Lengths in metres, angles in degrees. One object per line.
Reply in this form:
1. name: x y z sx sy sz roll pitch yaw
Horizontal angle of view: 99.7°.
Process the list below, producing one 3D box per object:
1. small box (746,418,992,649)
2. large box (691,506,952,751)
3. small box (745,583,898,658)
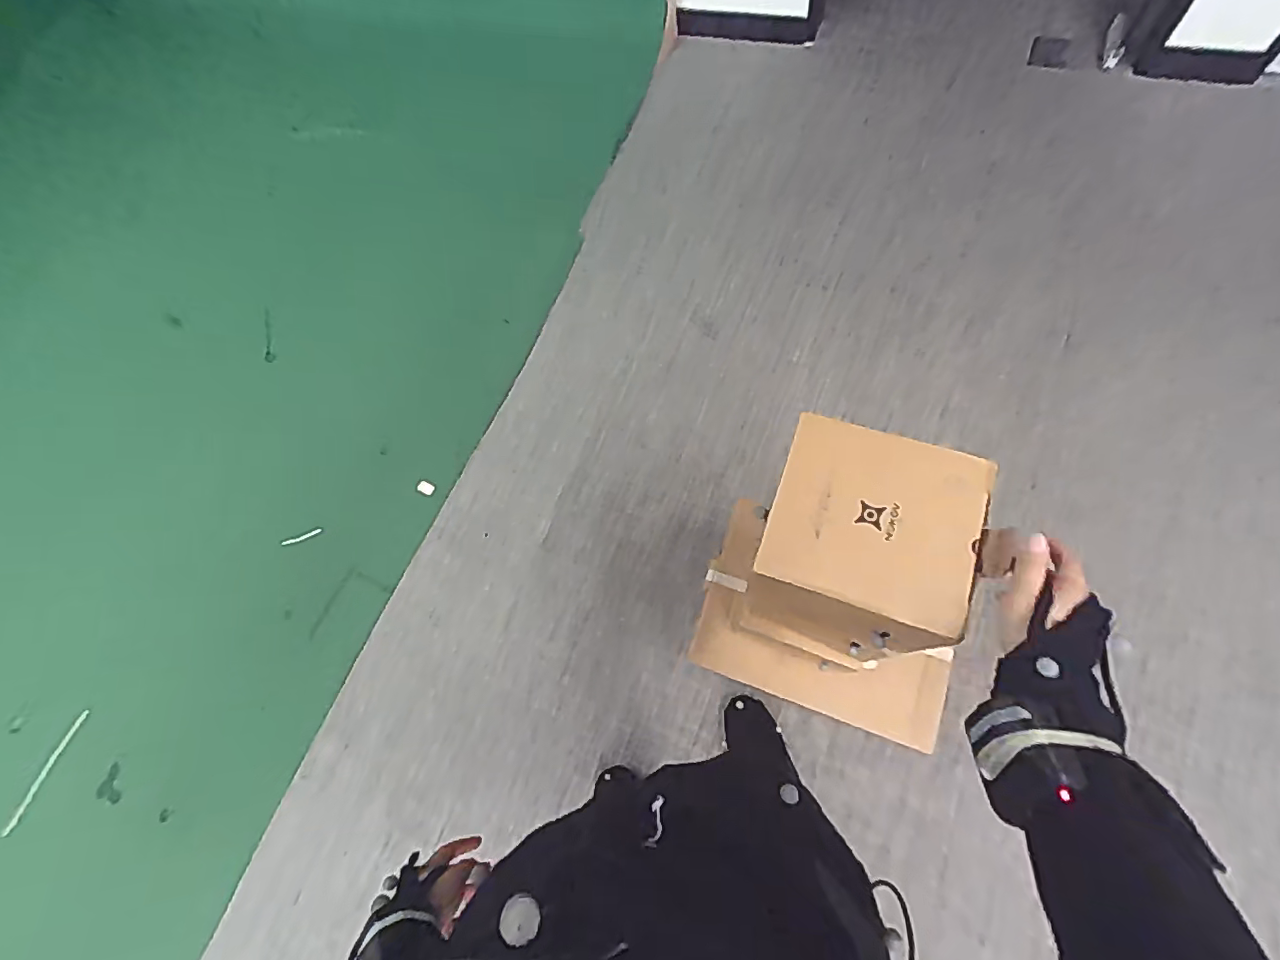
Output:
1. small box: 0.216 0.064 0.550 0.179 0.176 0.168 17 72 15
2. large box: 0.339 0.285 1.062 0.408 0.320 0.320 17 74 14
3. small box: 0.243 0.120 0.700 0.179 0.176 0.168 21 74 15
